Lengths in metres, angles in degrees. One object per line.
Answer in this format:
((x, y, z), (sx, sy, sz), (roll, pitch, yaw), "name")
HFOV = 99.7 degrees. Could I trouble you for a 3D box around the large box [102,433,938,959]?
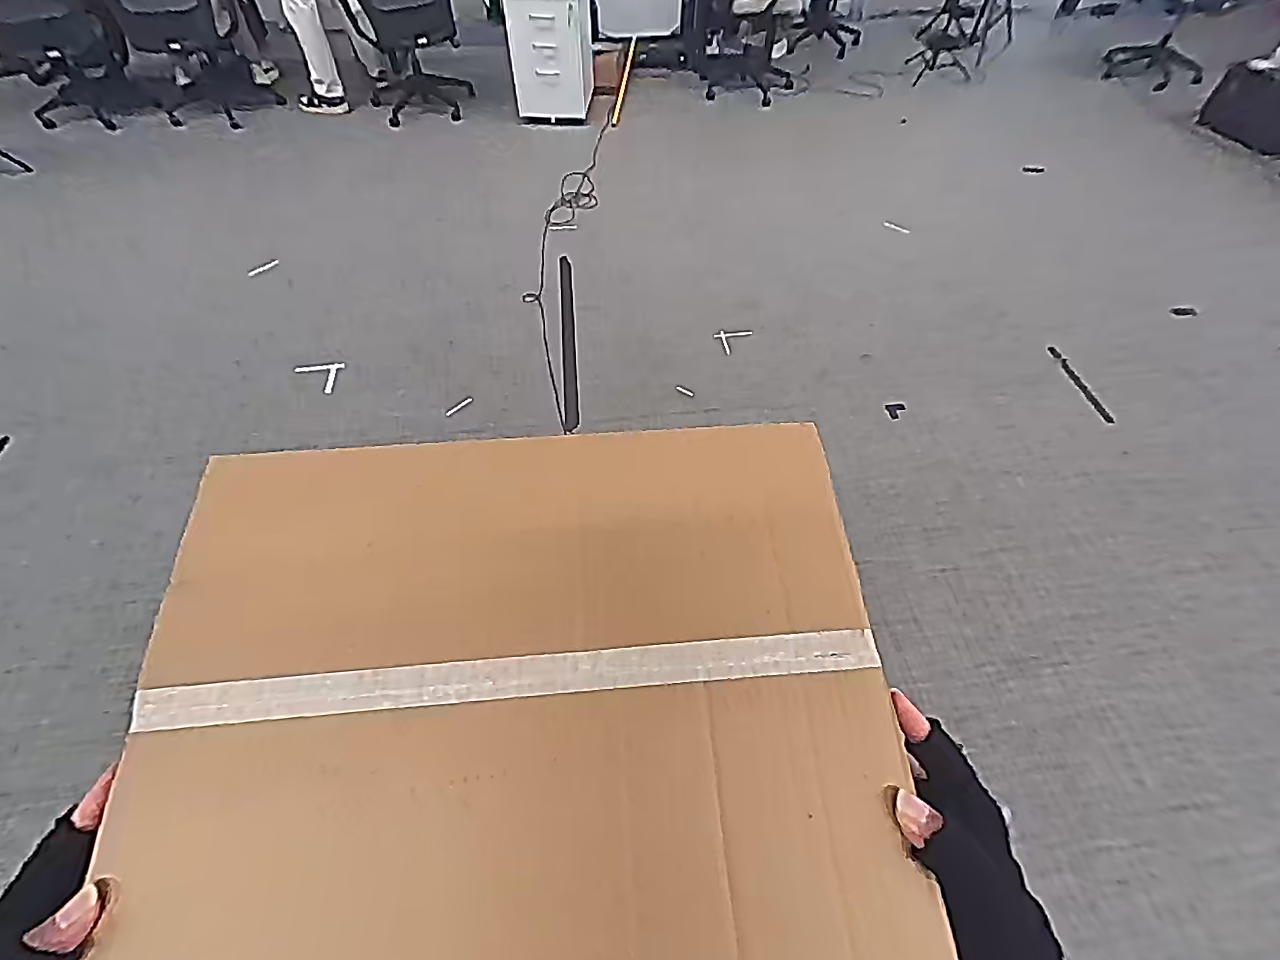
((-0.069, 0.183, 0.447), (0.408, 0.320, 0.320), (-4, 64, -3), "large box")
